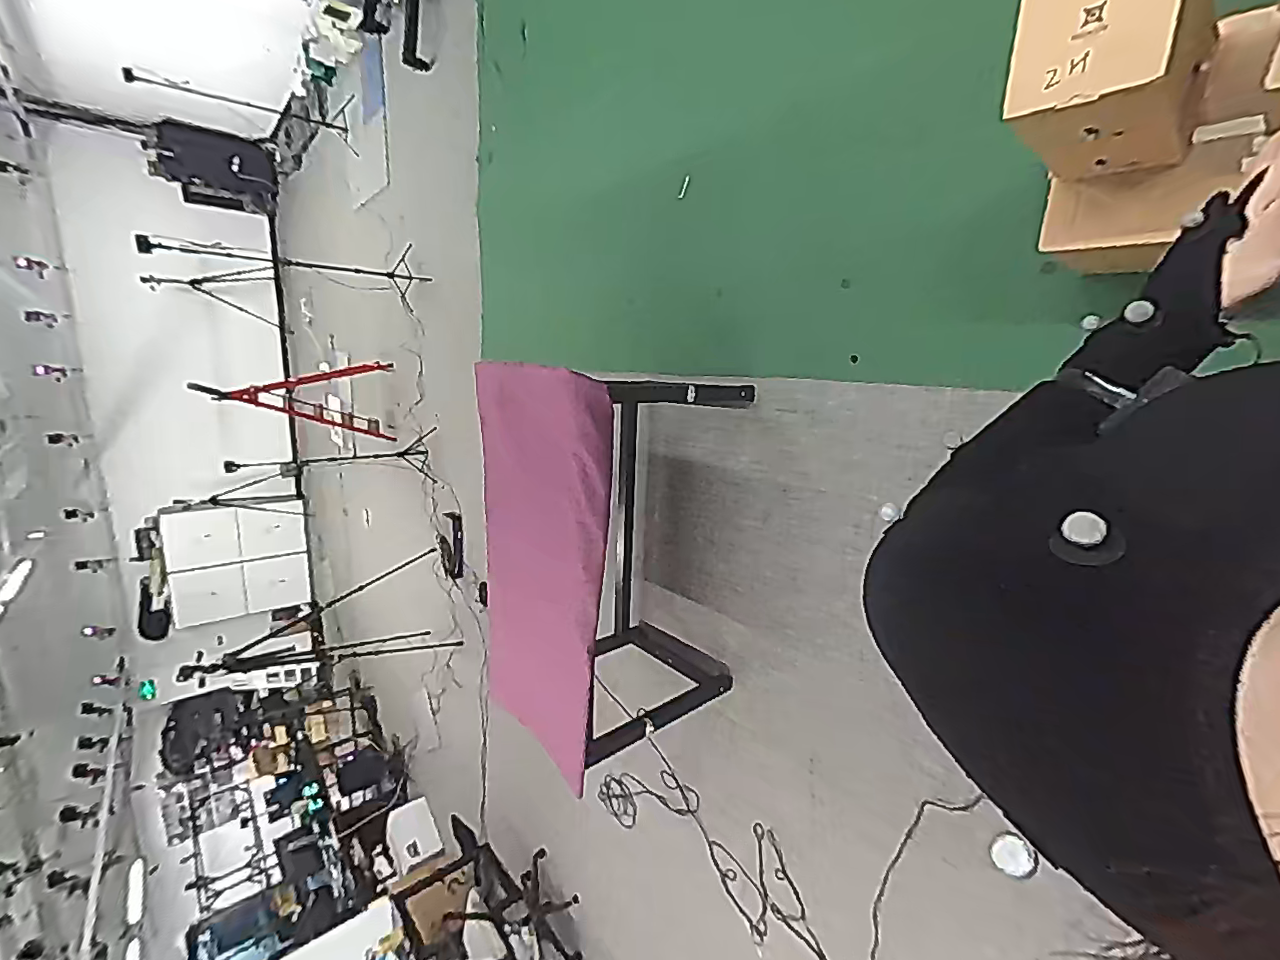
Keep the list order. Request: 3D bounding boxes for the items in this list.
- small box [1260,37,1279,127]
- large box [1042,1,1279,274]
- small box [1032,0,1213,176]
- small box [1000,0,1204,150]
[{"bbox_3d":[0.892,-0.544,0.636,0.179,0.176,0.168,25,114,46],"label":"small box"},{"bbox_3d":[0.982,-0.546,0.911,0.408,0.320,0.320,17,110,46],"label":"large box"},{"bbox_3d":[0.732,-0.591,0.821,0.168,0.176,0.179,18,109,46],"label":"small box"},{"bbox_3d":[0.610,-0.571,0.713,0.168,0.176,0.179,17,109,47],"label":"small box"}]
